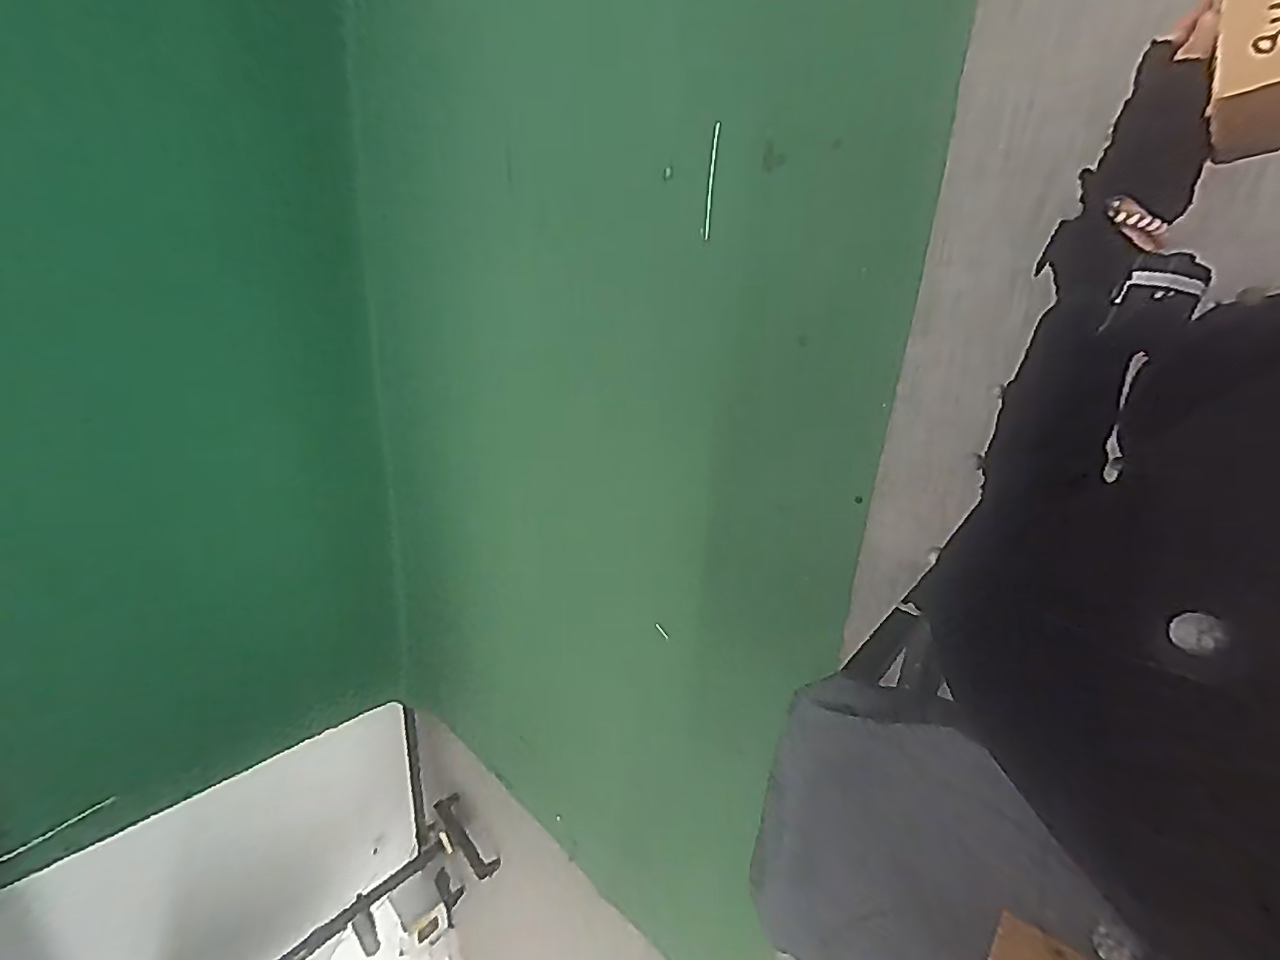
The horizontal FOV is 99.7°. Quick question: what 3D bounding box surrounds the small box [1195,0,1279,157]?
[{"bbox_3d":[0.450,-0.315,0.307,0.179,0.176,0.168,6,103,45],"label":"small box"}]
